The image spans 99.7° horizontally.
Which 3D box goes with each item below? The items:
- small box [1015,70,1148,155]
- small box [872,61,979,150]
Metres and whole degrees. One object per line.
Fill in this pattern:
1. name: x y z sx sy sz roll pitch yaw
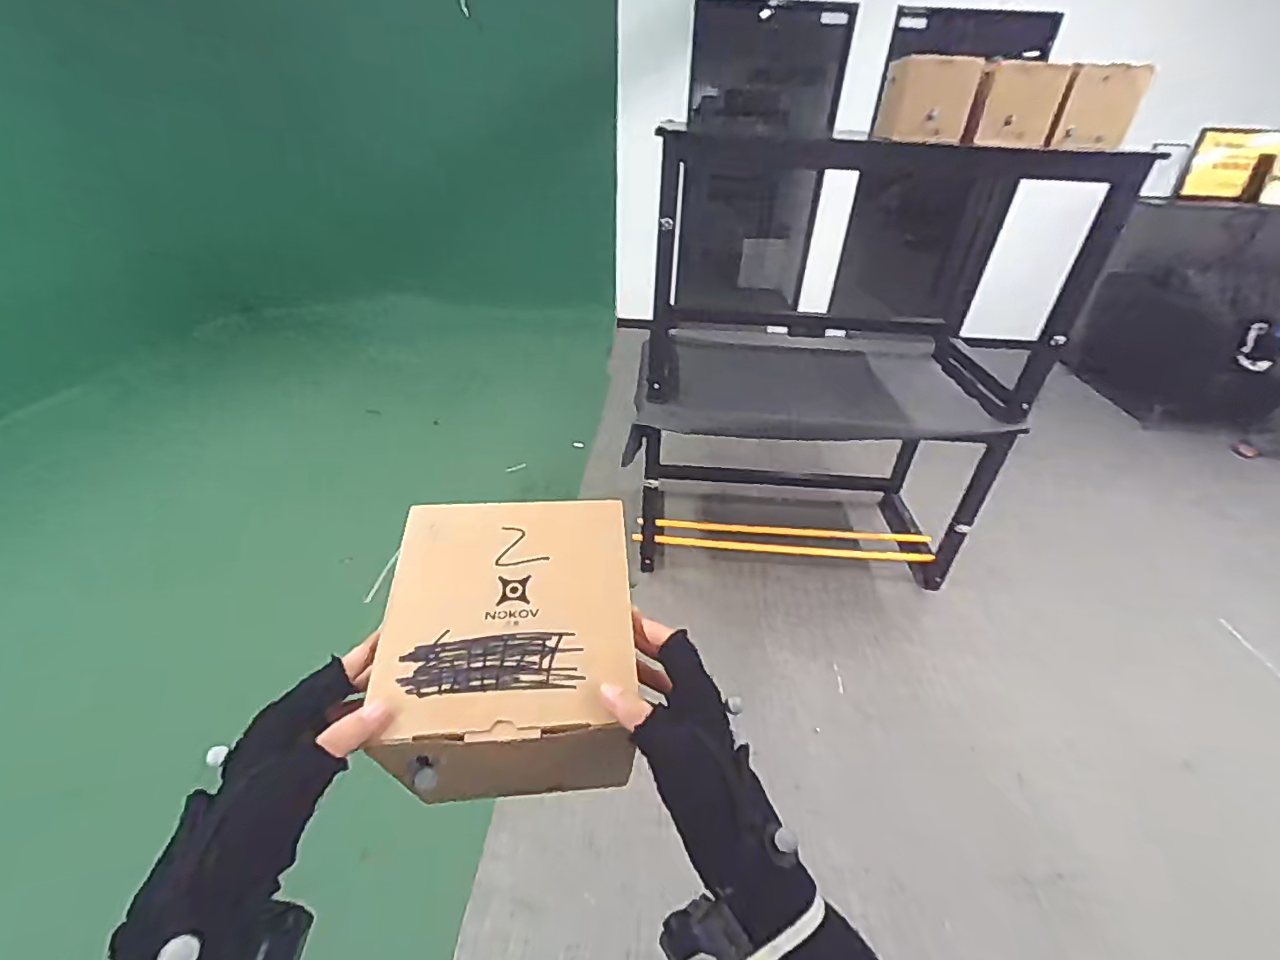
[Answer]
1. small box: 1.091 -0.917 1.355 0.168 0.176 0.179 5 34 4
2. small box: 0.710 -0.943 1.370 0.168 0.176 0.179 5 34 3
